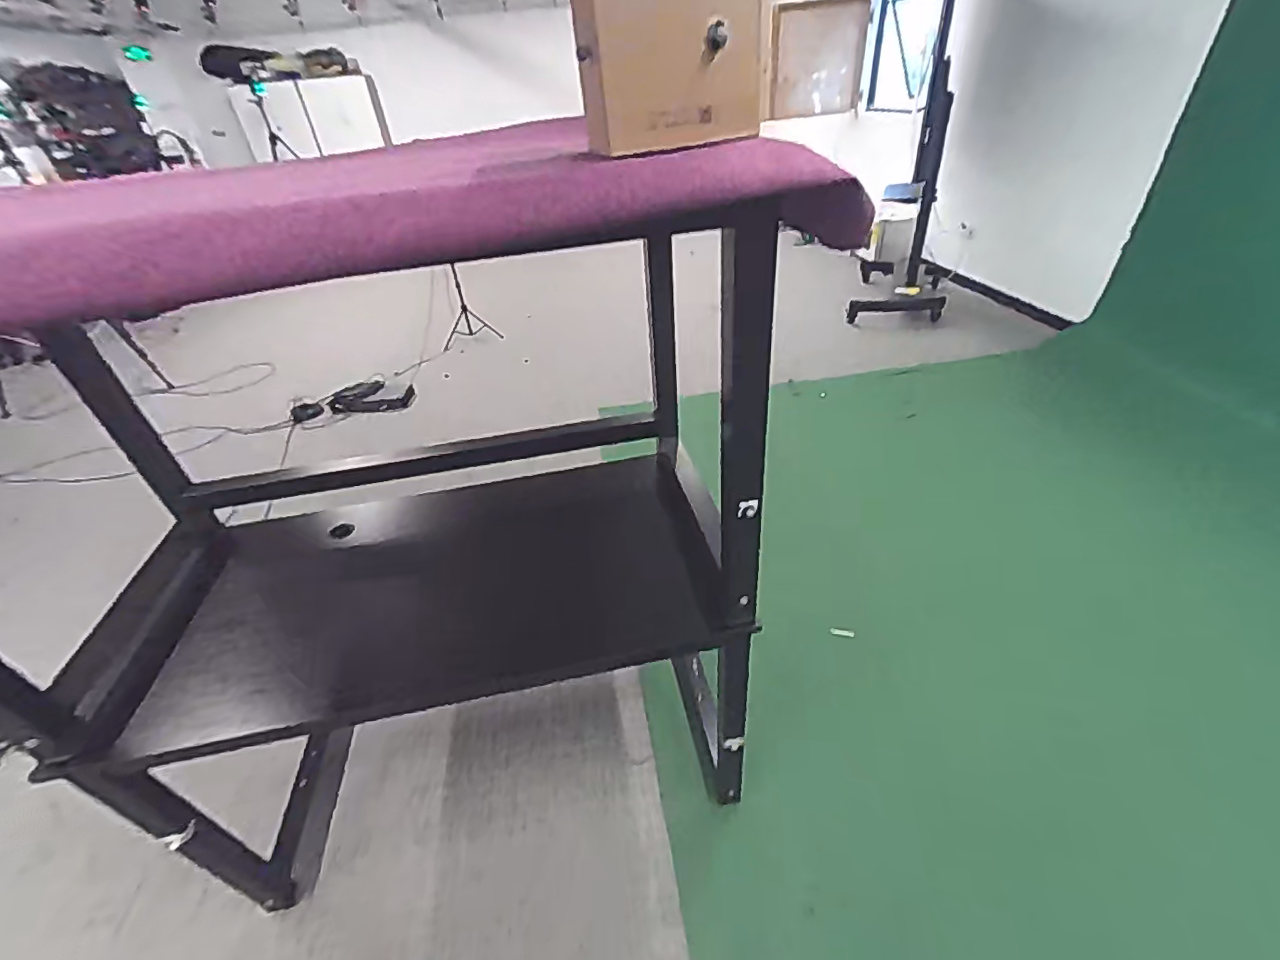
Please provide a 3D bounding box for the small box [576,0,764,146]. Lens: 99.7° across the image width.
[{"bbox_3d":[0.029,-0.467,0.582,0.168,0.176,0.179,-10,35,-7],"label":"small box"}]
